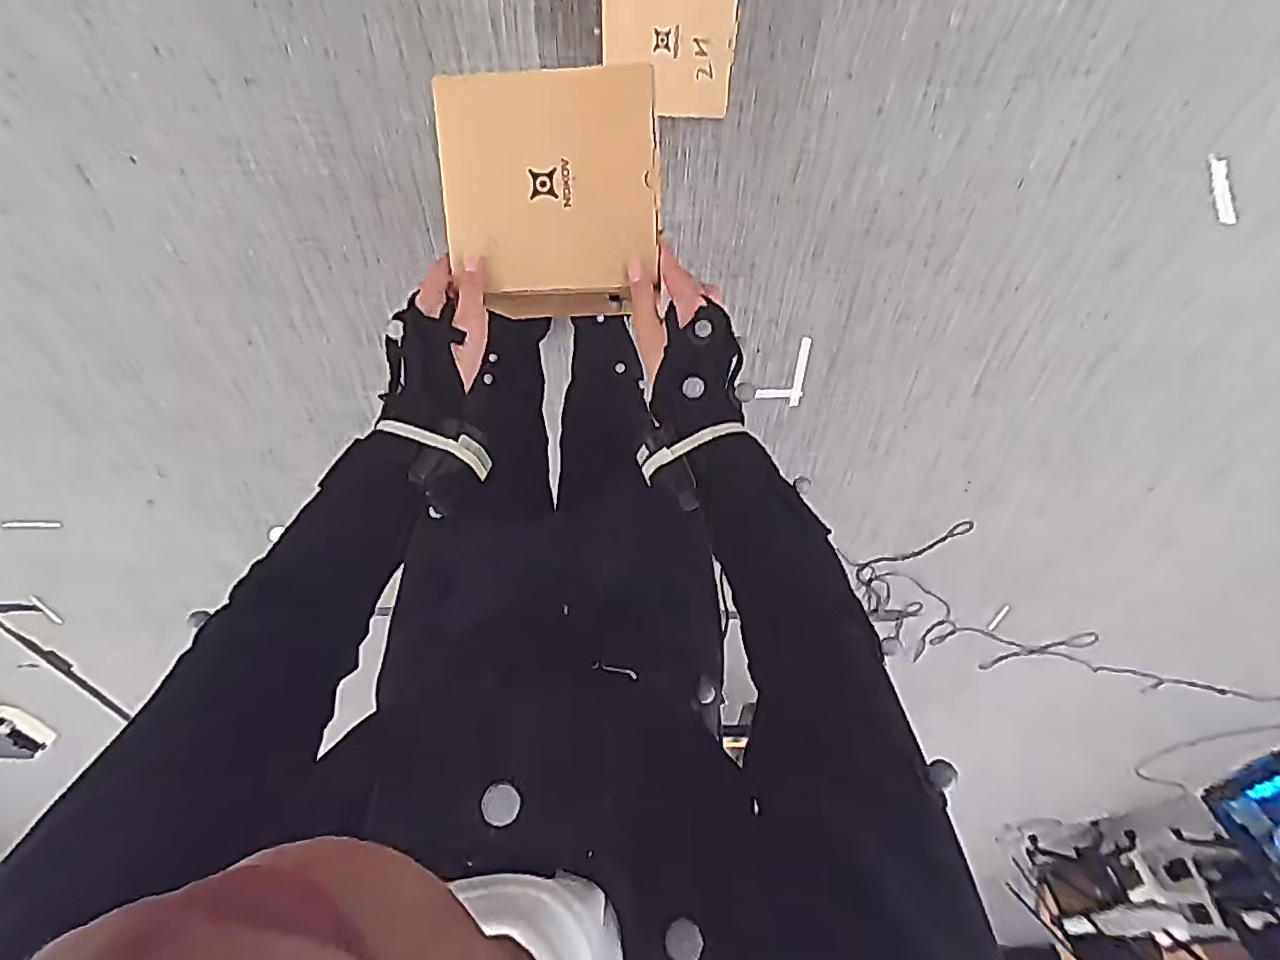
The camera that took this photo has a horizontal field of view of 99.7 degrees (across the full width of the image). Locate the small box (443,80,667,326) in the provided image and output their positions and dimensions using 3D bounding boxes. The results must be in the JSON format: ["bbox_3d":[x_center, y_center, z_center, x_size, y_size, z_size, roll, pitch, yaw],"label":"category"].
[{"bbox_3d":[-0.064,-0.240,0.514,0.179,0.176,0.168,-2,100,2],"label":"small box"}]
